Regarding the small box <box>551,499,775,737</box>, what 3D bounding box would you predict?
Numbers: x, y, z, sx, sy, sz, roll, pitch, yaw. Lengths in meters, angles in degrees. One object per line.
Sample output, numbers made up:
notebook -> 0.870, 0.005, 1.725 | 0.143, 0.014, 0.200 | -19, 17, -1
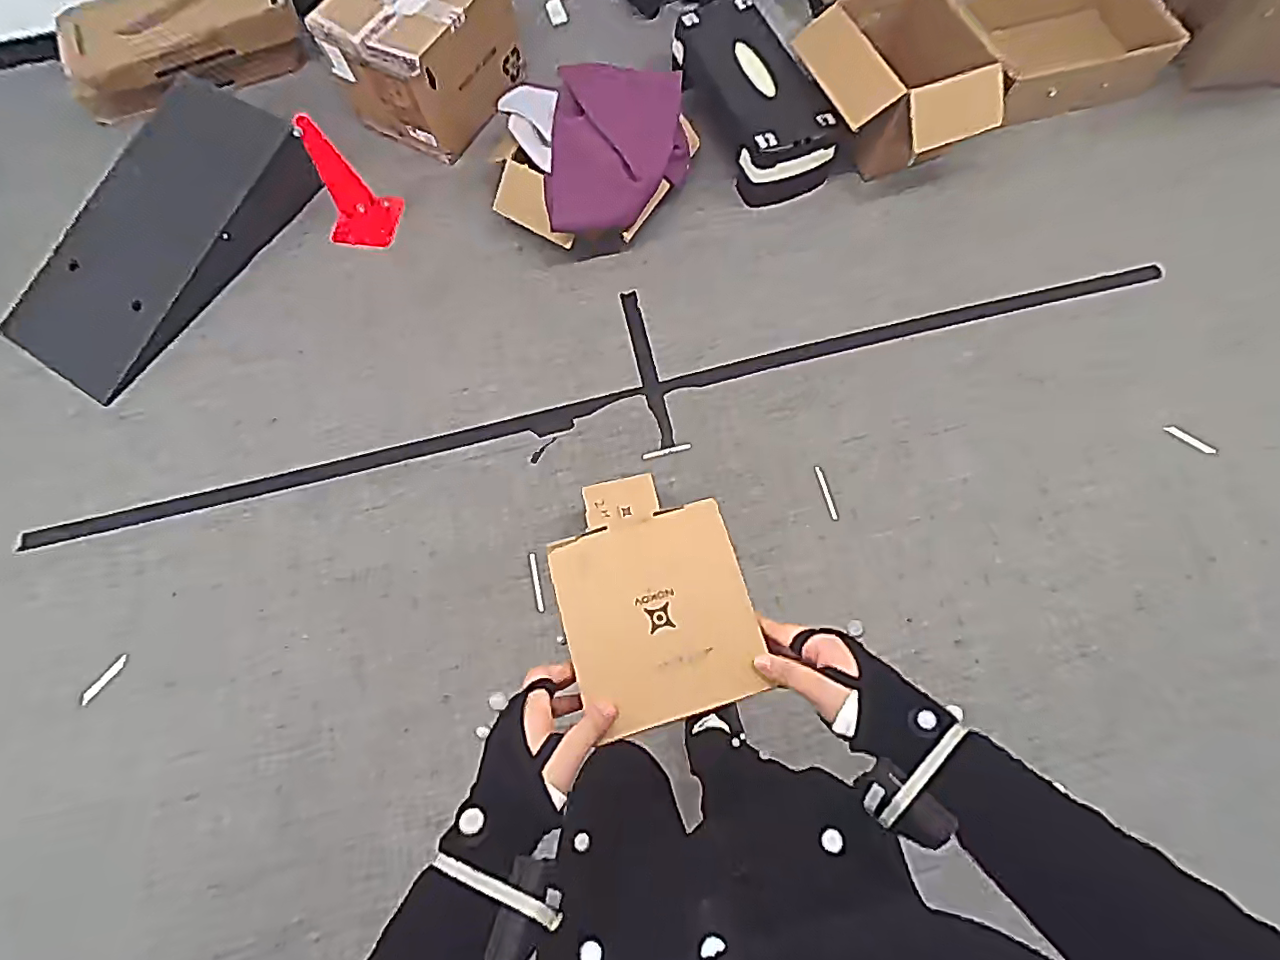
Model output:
small box -> 0.014, 0.140, 0.559 | 0.168, 0.176, 0.179 | -16, 75, -6

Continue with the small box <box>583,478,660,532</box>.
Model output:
small box -> -0.038, 0.111, 1.359 | 0.179, 0.176, 0.168 | -12, 72, -2
